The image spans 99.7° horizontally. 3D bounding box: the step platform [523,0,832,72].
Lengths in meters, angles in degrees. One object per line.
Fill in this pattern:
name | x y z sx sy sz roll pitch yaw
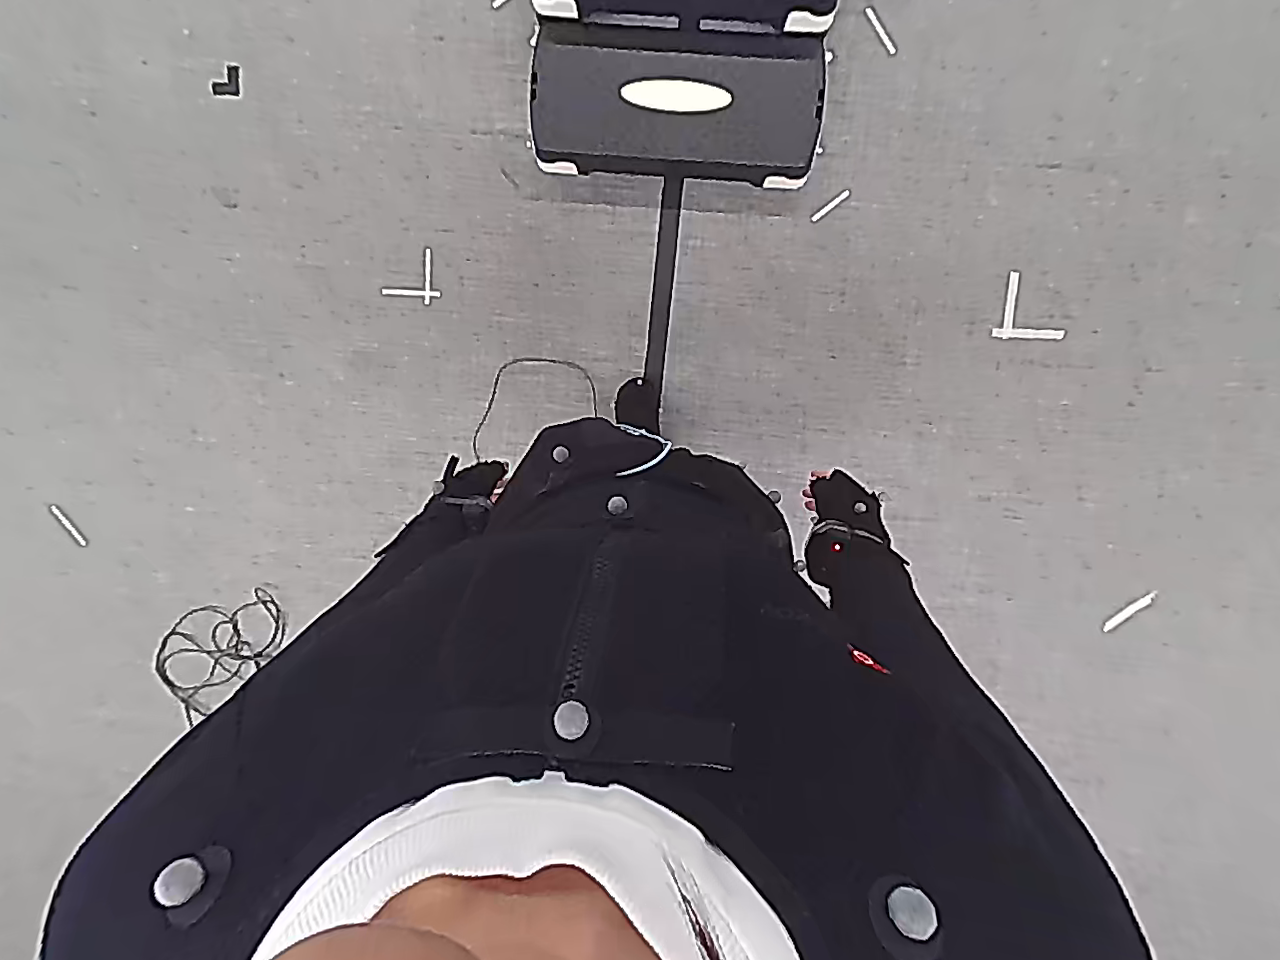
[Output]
step platform | 0.082 -1.116 1.184 0.684 0.204 0.286 4 99 1
